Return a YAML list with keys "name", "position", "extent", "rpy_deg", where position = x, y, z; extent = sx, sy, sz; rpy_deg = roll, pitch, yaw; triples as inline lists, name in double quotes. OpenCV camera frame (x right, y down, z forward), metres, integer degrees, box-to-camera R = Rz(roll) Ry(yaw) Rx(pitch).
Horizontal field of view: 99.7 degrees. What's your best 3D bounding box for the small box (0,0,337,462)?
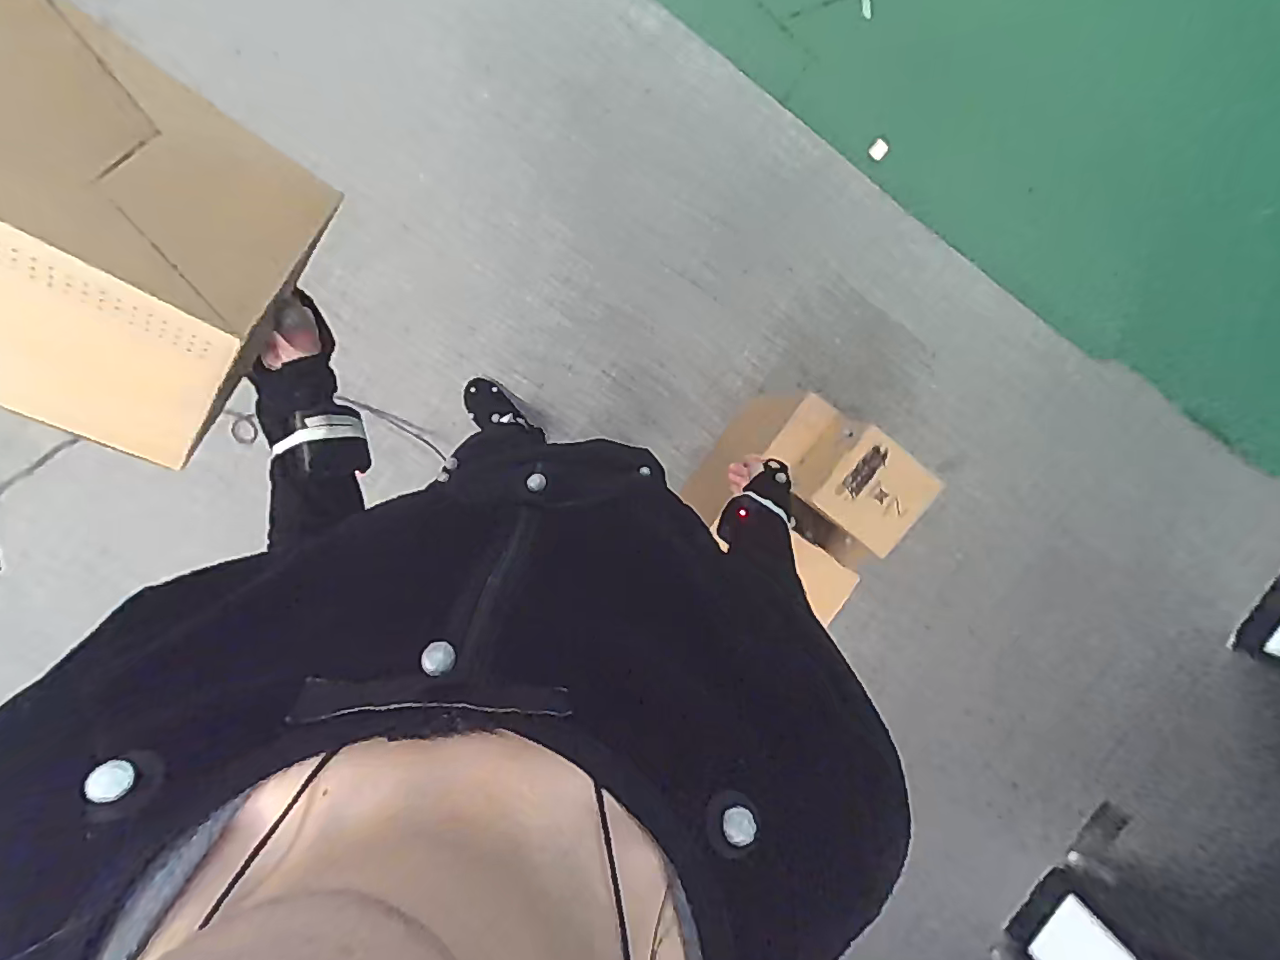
- name: "small box"
  position: [-0.331, -0.145, 0.341]
  extent: [0.179, 0.168, 0.176]
  rpy_deg: [29, 136, -34]
